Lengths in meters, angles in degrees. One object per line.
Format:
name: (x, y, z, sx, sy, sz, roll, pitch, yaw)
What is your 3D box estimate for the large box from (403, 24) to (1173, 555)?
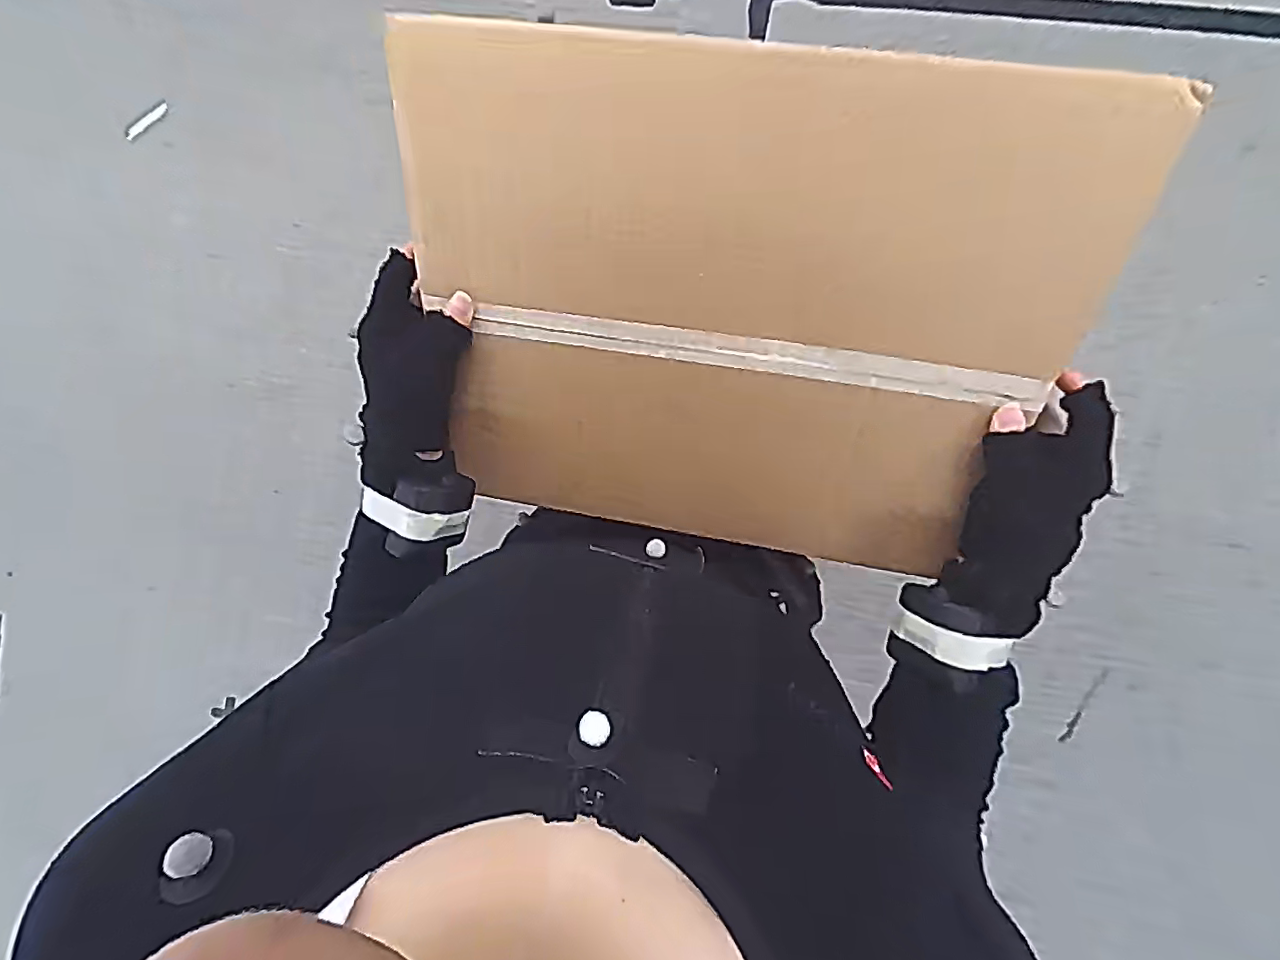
large box: (0.076, -0.176, 0.484, 0.408, 0.320, 0.320, 10, 126, 7)
